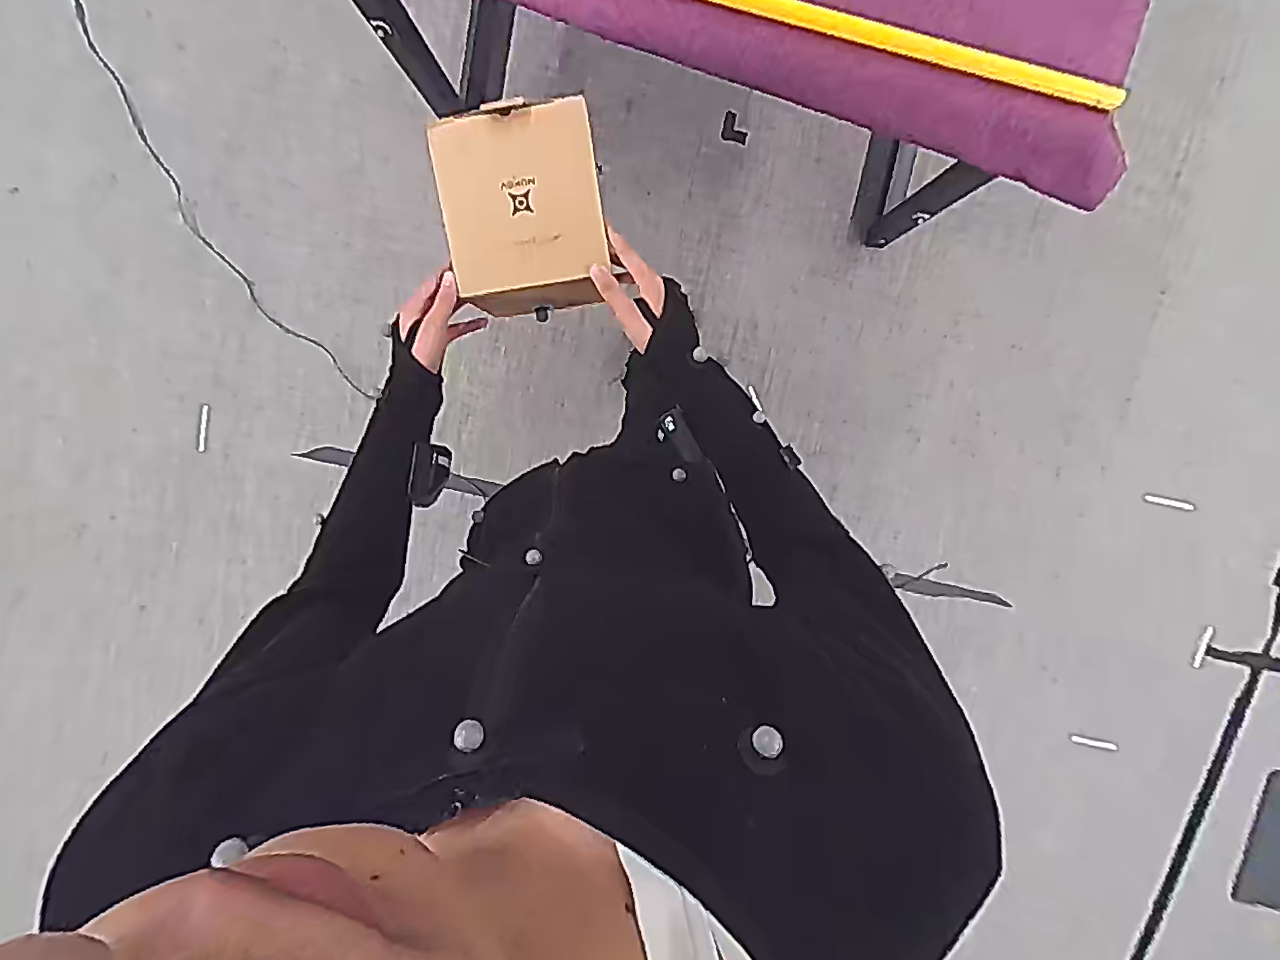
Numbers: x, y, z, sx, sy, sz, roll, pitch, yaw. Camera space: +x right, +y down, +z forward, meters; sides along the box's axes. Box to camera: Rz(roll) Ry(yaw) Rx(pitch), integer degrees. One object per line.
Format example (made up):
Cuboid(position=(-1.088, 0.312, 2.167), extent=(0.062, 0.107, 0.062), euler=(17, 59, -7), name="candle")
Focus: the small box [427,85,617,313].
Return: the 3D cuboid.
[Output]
Cuboid(position=(-0.121, -0.306, 0.626), extent=(0.168, 0.176, 0.179), euler=(-9, 98, 1), name="small box")
